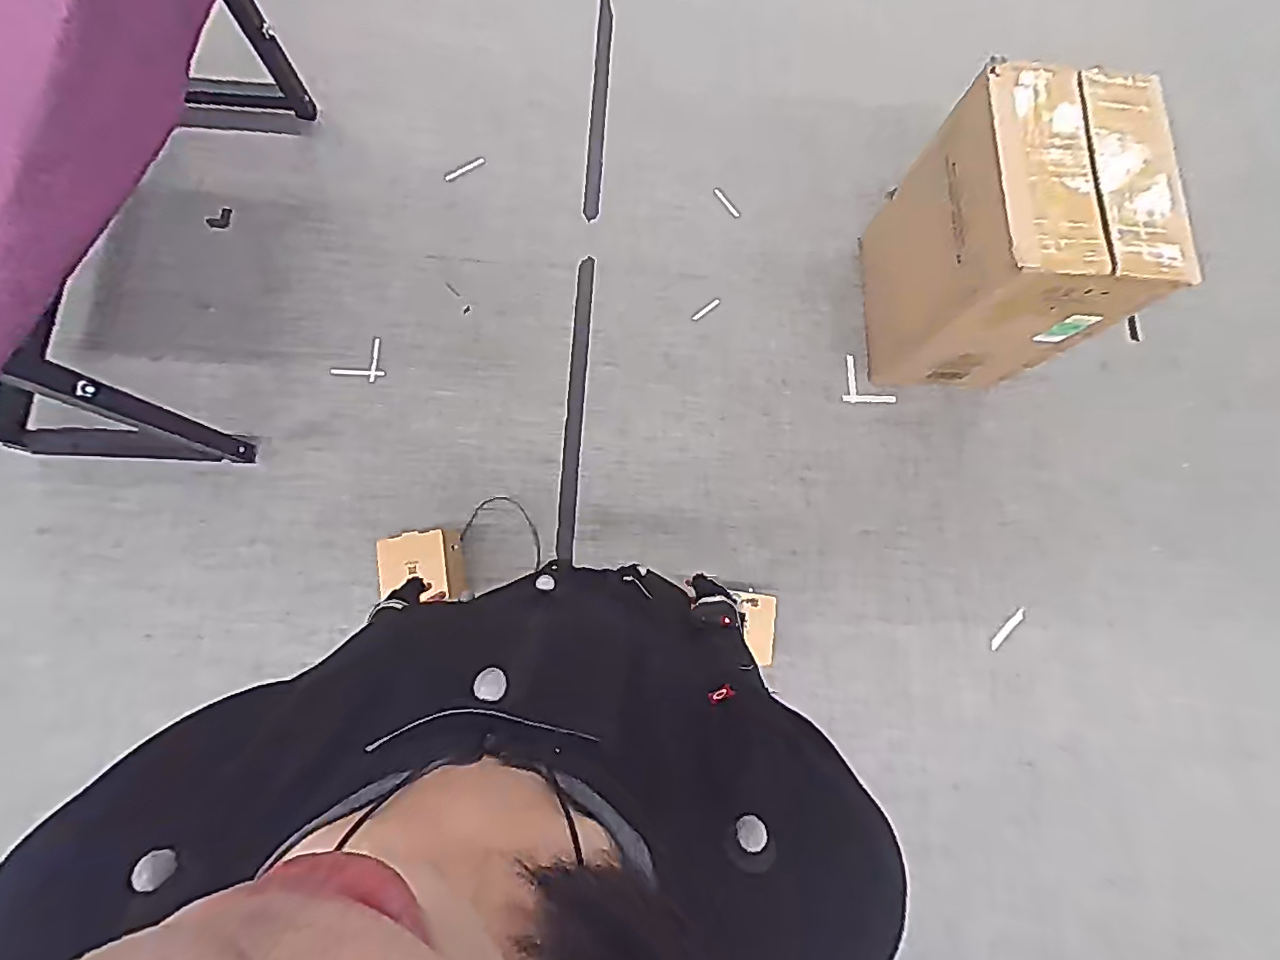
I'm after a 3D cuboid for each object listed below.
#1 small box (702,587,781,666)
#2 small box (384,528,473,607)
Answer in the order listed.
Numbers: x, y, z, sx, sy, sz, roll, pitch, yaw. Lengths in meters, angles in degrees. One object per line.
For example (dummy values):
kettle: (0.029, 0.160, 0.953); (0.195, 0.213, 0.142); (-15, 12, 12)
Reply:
small box: (0.265, 0.386, 1.448); (0.168, 0.176, 0.179); (9, 79, -2)
small box: (-0.552, 0.233, 1.424); (0.168, 0.176, 0.179); (-10, 80, -3)
